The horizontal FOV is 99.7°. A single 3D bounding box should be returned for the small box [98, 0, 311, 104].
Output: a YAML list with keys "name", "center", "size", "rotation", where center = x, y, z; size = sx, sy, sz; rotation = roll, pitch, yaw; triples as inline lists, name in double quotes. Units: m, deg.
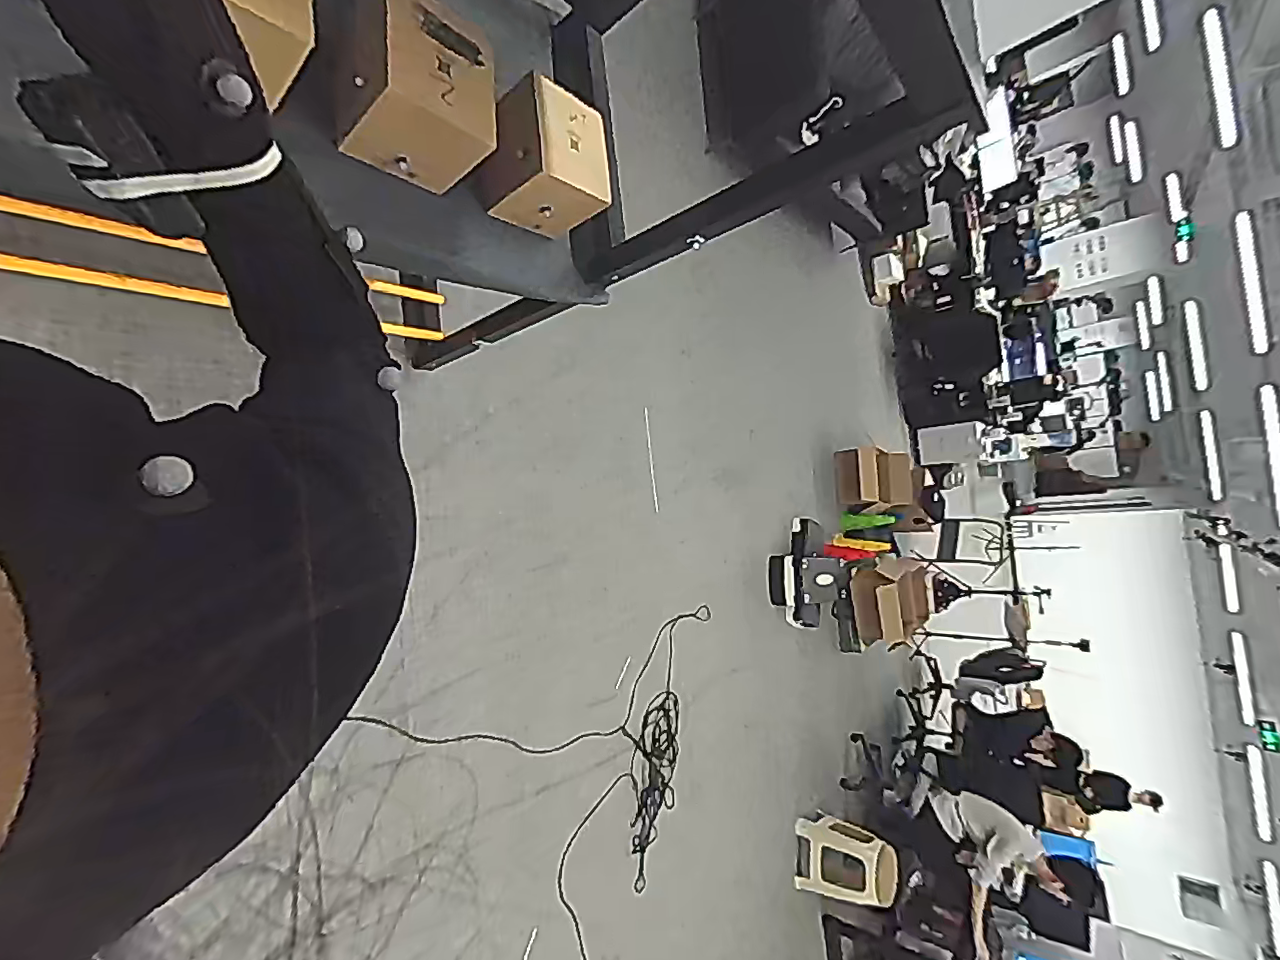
- name: "small box"
  center: [-0.502, -0.588, 0.621]
  size: [0.168, 0.176, 0.179]
  rotation: [-3, 87, -50]

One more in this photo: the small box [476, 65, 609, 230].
- name: "small box"
  center: [-0.181, -0.592, 0.996]
  size: [0.168, 0.176, 0.179]
  rotation: [-4, 87, -50]
